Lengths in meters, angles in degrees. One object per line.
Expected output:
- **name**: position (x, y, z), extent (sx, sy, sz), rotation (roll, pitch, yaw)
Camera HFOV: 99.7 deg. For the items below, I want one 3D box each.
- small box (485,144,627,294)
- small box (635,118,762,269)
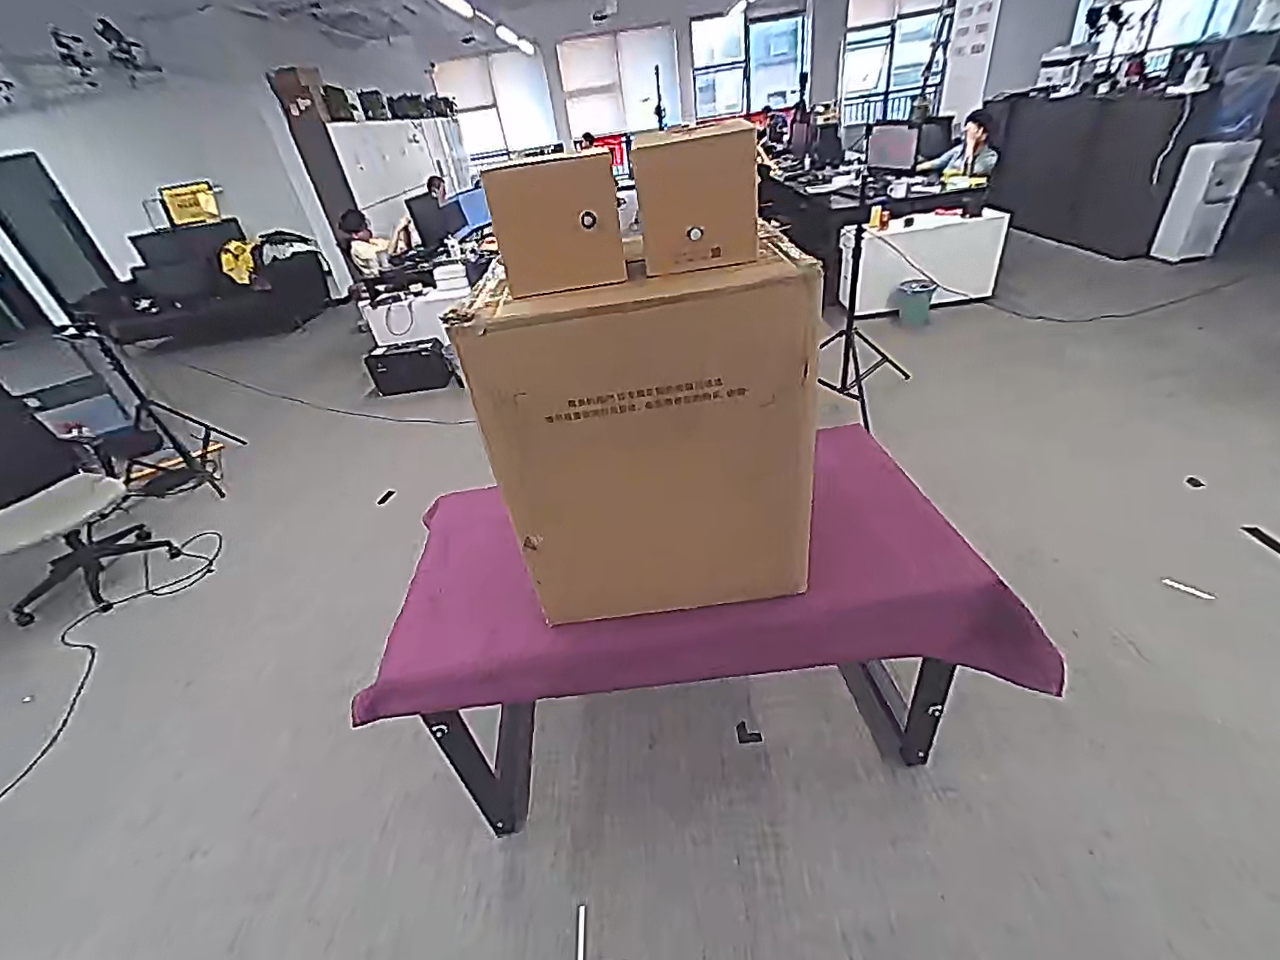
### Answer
- **small box**: position (-0.117, -0.392, 0.809), extent (0.179, 0.176, 0.168), rotation (-11, 33, -3)
- **small box**: position (0.089, -0.429, 0.812), extent (0.168, 0.176, 0.179), rotation (-6, 35, 7)
